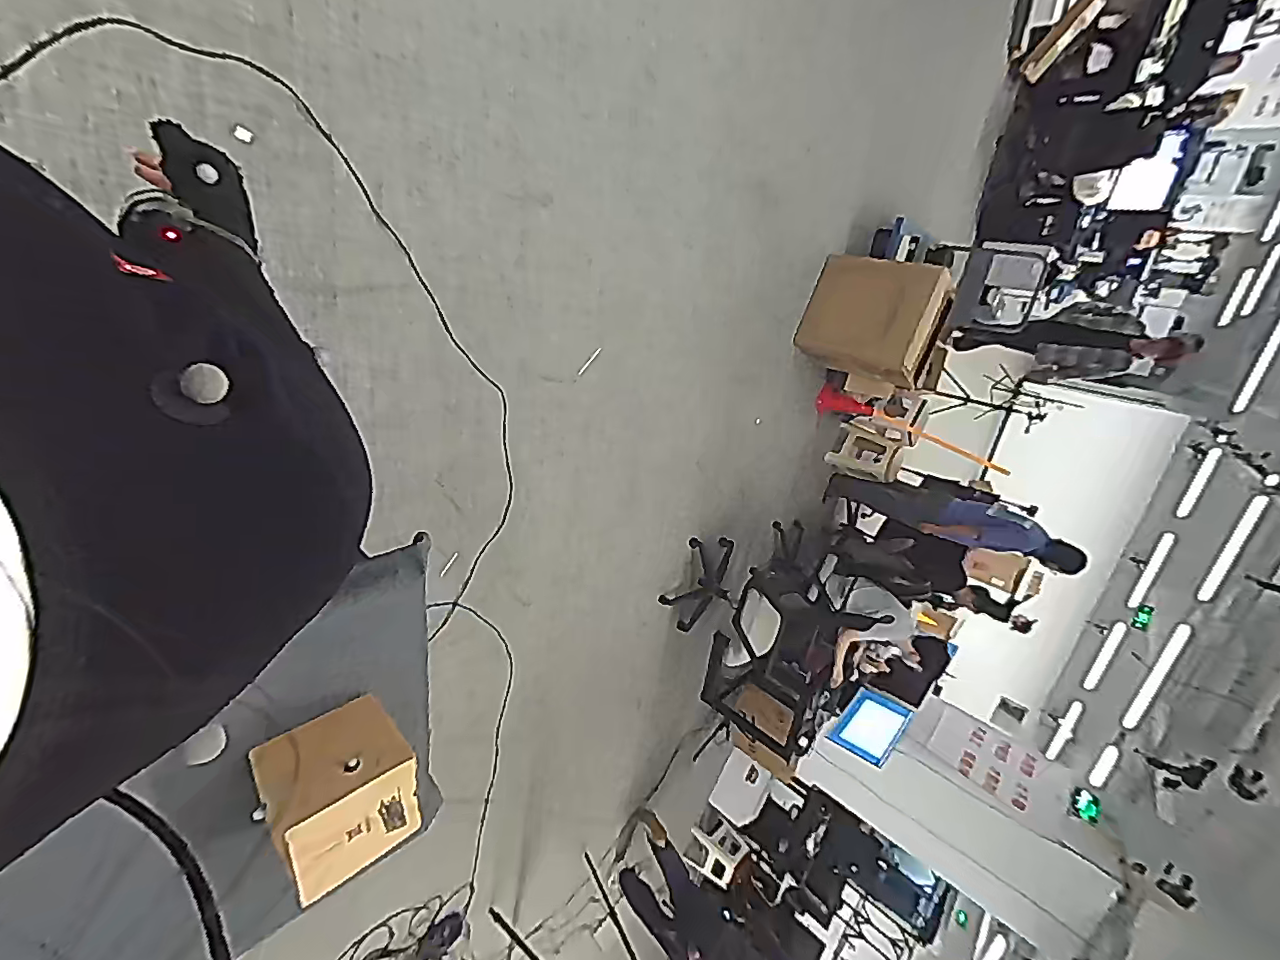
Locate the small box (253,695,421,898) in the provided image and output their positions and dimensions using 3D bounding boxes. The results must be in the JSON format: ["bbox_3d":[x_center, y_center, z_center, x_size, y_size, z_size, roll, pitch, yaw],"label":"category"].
[{"bbox_3d":[-0.466,0.473,0.840,0.179,0.176,0.168,-18,123,-44],"label":"small box"}]
